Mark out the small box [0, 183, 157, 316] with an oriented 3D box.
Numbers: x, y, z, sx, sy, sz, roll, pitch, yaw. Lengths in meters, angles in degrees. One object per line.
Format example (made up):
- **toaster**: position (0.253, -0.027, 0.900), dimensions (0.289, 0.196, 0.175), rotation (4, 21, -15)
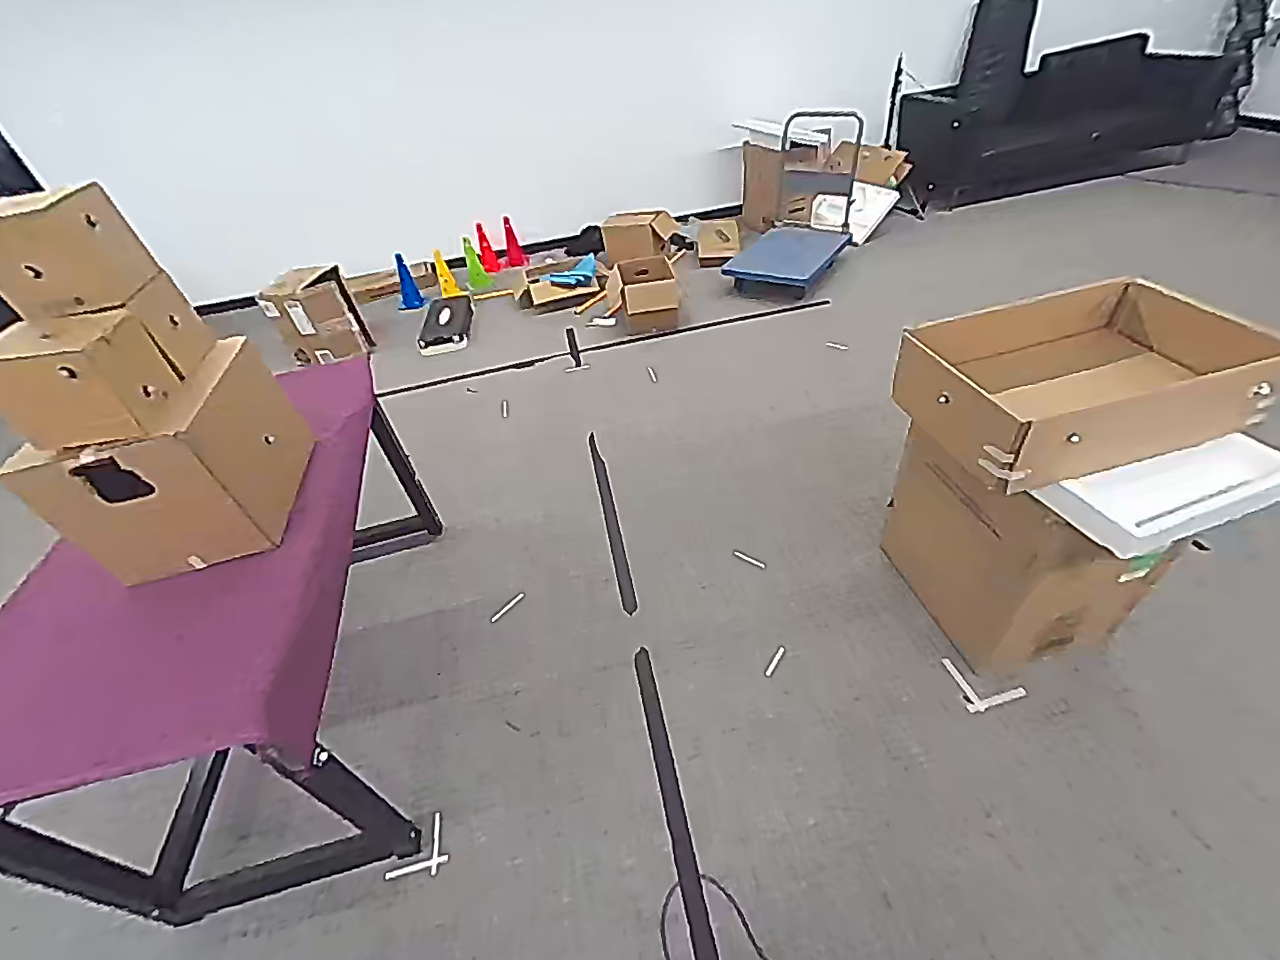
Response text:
- **small box**: position (-1.044, -0.412, 0.982), dimensions (0.168, 0.176, 0.179), rotation (-14, 43, -5)
